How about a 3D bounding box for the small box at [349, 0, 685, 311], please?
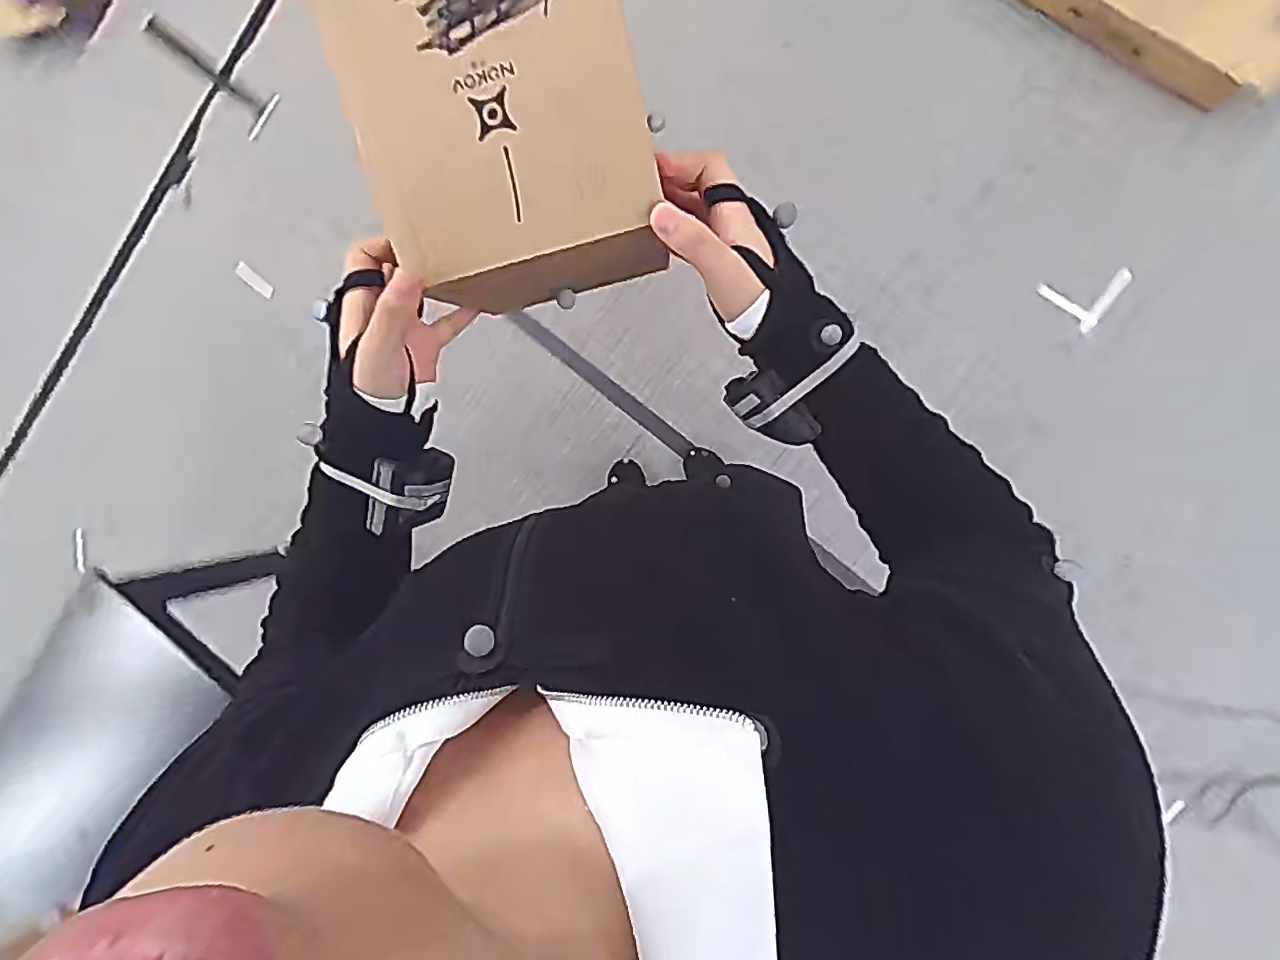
[{"bbox_3d":[-0.066,-0.233,0.388,0.168,0.176,0.179,-11,101,6],"label":"small box"}]
